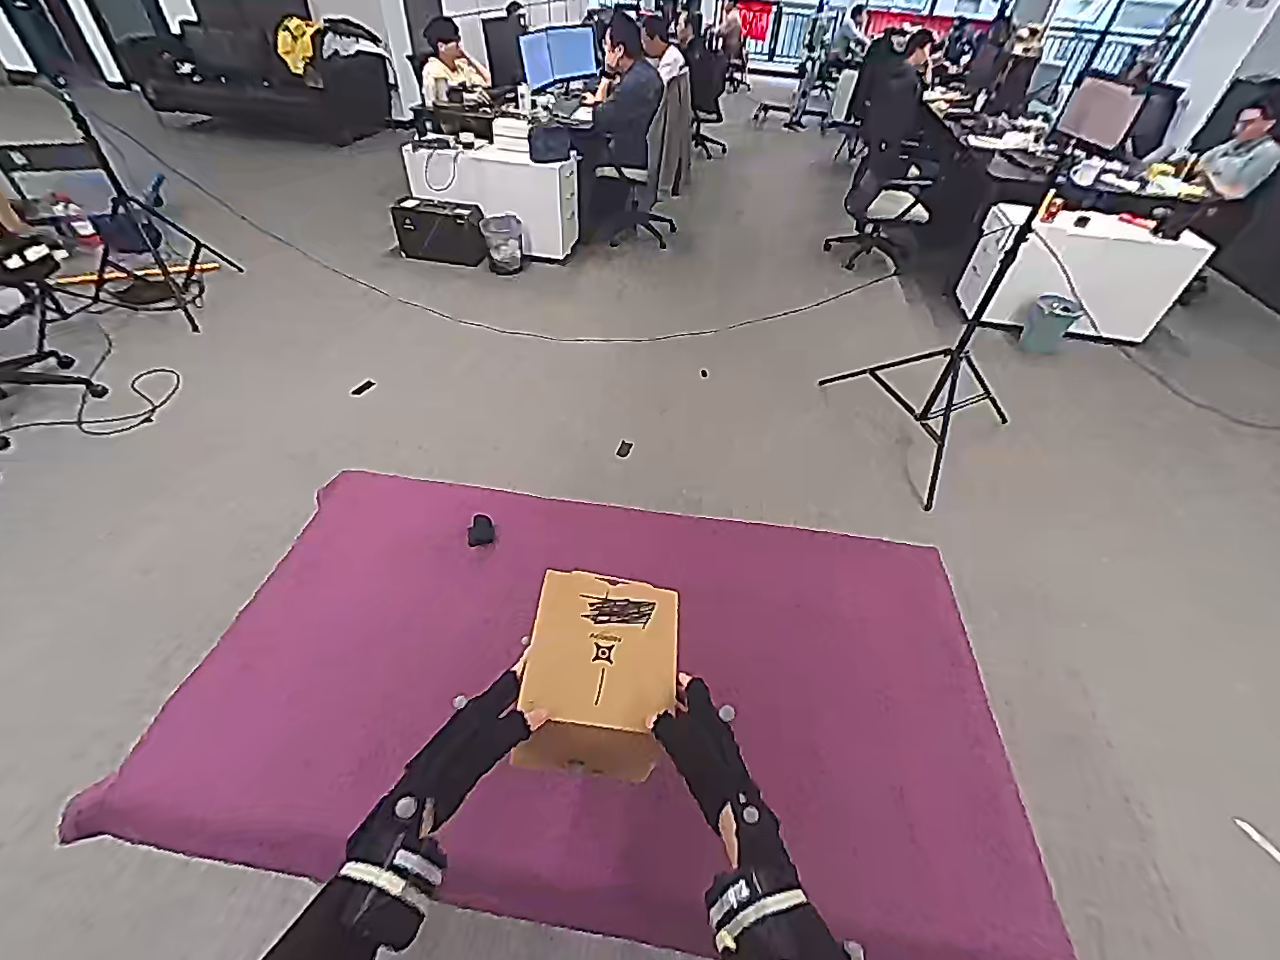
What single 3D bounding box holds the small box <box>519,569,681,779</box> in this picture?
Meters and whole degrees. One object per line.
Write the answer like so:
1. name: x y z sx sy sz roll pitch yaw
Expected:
1. small box: -0.050 0.238 0.662 0.168 0.176 0.179 10 46 -5
